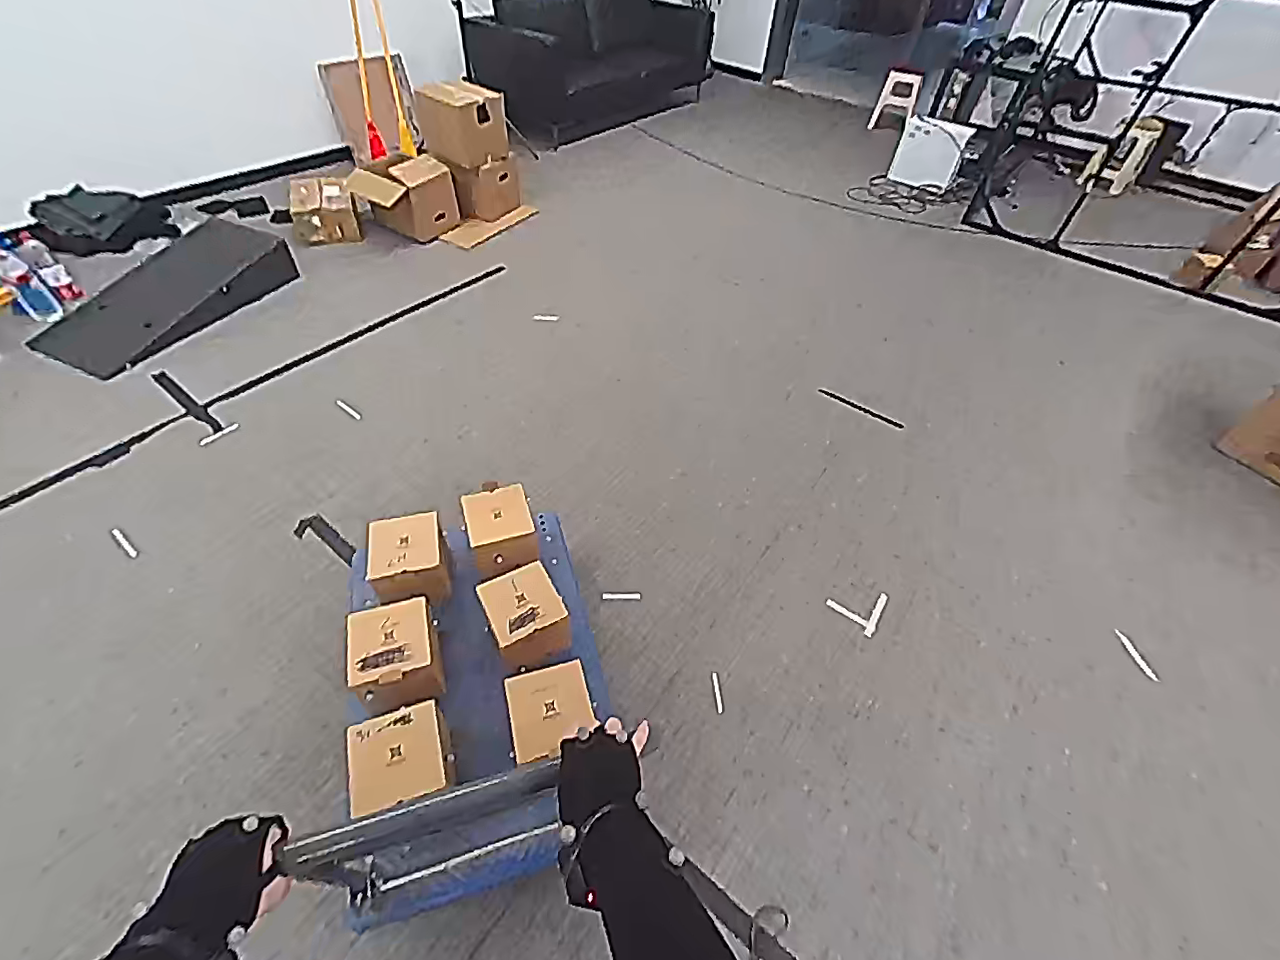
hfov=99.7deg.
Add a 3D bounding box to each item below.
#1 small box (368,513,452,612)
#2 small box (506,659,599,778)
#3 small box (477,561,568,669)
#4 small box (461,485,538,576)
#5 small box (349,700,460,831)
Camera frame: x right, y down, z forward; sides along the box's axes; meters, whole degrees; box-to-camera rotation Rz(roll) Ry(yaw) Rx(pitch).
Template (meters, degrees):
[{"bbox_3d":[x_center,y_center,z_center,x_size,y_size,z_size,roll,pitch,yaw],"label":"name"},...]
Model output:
[{"bbox_3d":[-0.592,0.213,1.403,0.168,0.176,0.179,-10,51,-14],"label":"small box"},{"bbox_3d":[-0.188,0.522,1.171,0.168,0.176,0.179,-10,49,-16],"label":"small box"},{"bbox_3d":[-0.283,0.338,1.326,0.168,0.176,0.179,-21,53,-23],"label":"small box"},{"bbox_3d":[-0.384,0.145,1.489,0.168,0.176,0.179,-14,51,-17],"label":"small box"},{"bbox_3d":[-0.469,0.579,1.087,0.168,0.176,0.179,-13,51,-18],"label":"small box"}]
